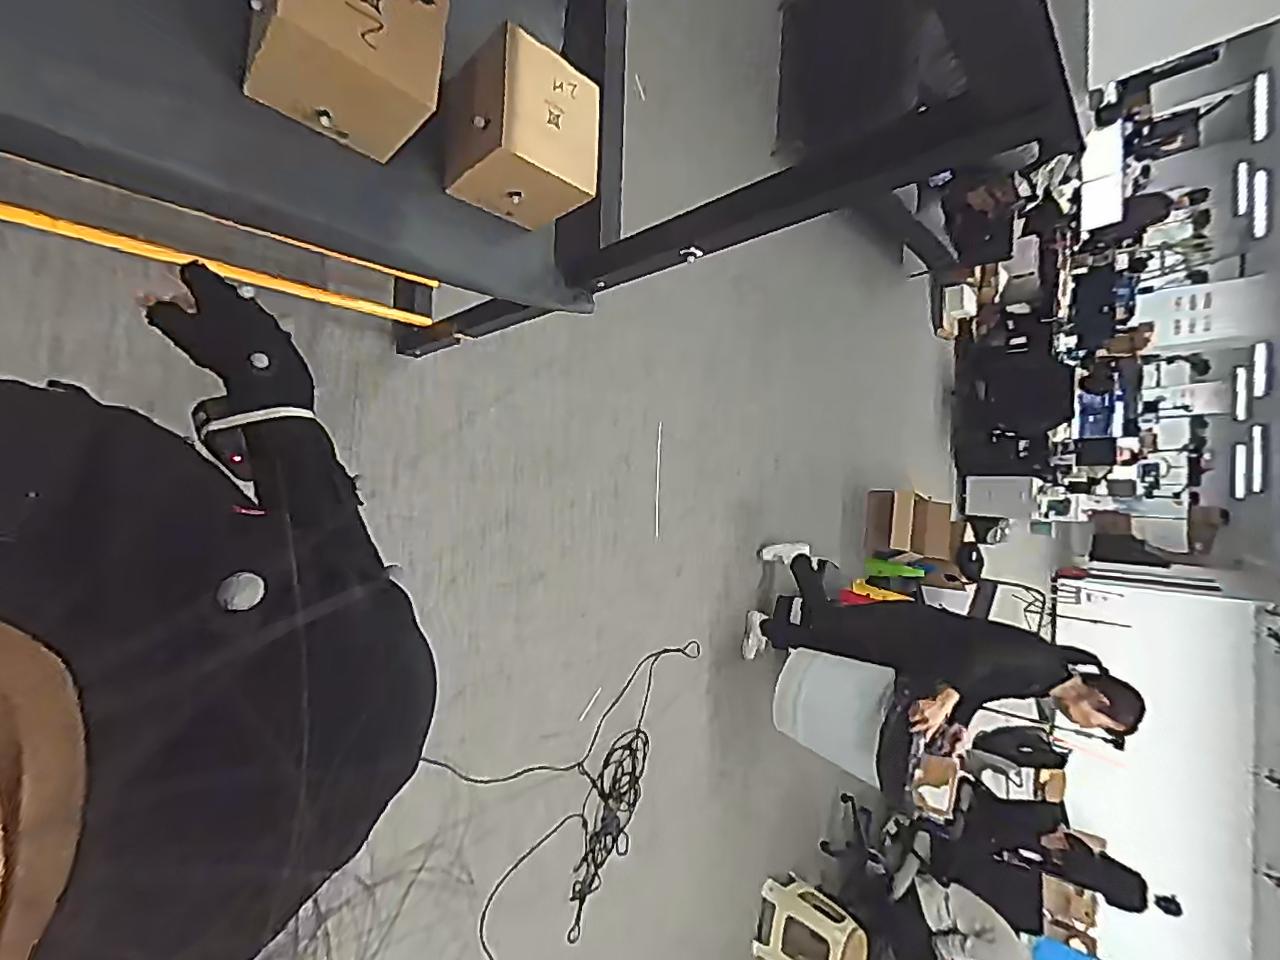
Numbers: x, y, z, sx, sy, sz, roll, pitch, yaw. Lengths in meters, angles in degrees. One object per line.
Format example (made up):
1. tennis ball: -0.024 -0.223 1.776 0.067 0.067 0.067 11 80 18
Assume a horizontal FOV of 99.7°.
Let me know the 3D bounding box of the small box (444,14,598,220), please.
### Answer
1. small box: -0.183 -0.529 0.825 0.168 0.176 0.179 3 88 -46
